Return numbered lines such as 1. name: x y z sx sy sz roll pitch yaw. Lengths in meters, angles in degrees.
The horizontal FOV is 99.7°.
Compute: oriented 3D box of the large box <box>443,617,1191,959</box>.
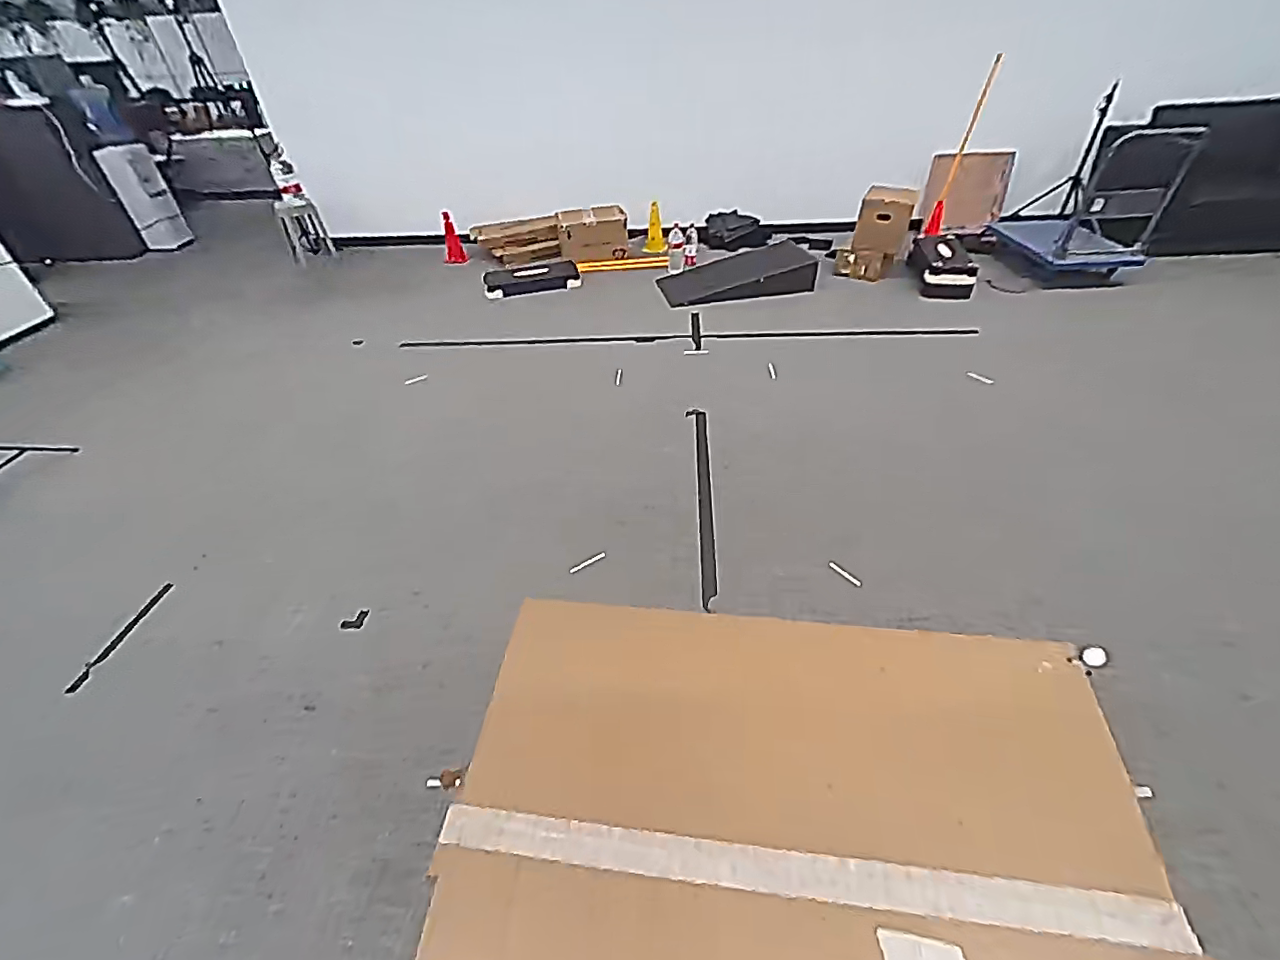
1. large box: 0.100 0.329 0.427 0.408 0.320 0.320 3 50 7
